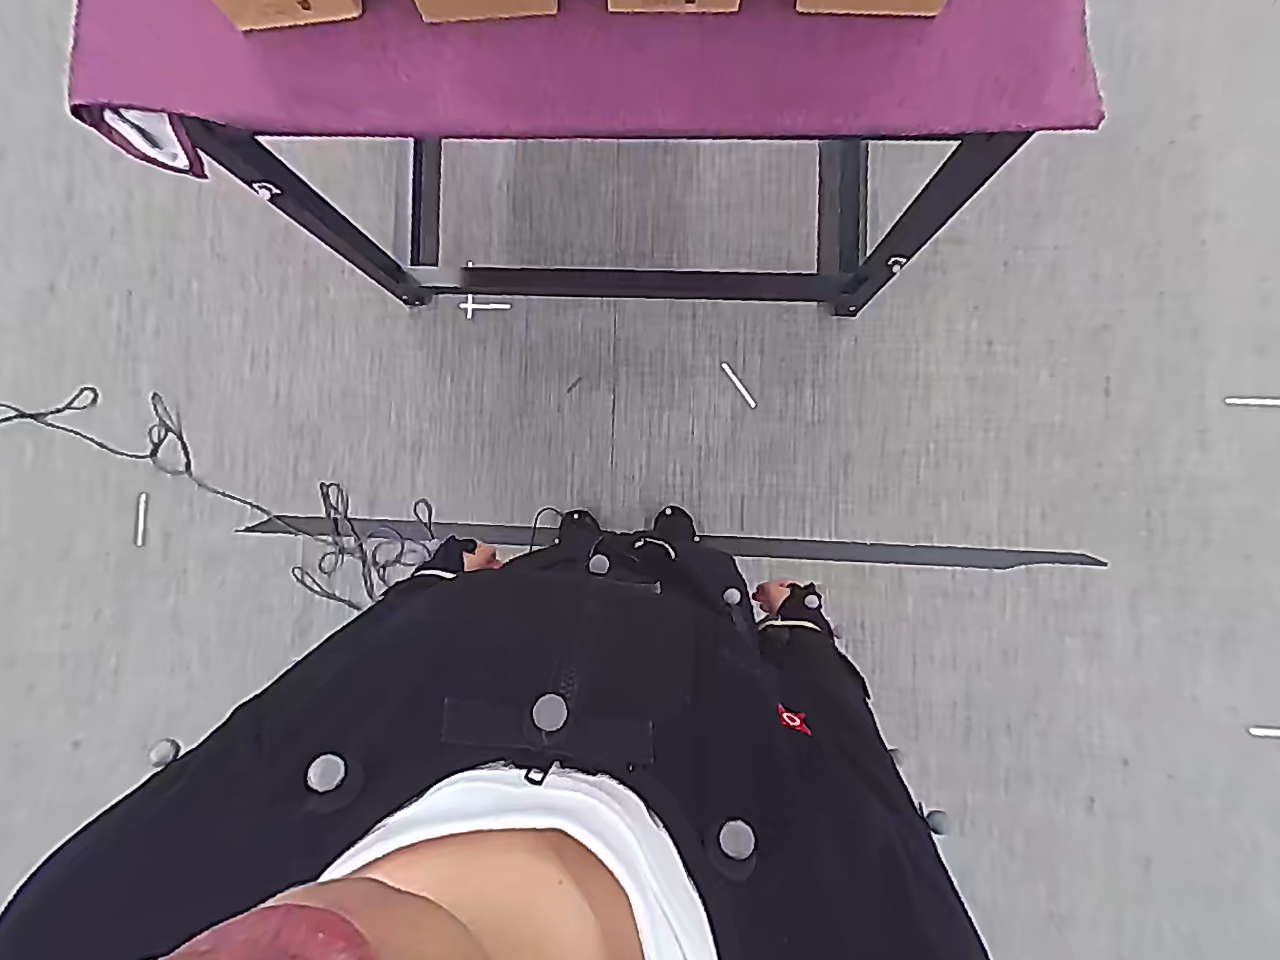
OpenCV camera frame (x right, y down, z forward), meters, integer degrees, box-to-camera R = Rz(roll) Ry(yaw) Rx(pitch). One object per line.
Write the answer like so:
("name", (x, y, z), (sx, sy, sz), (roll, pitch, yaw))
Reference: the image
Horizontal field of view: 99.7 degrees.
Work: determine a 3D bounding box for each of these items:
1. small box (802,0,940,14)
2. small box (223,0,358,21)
("small box", (0.283, -0.665, 0.595), (0.179, 0.176, 0.168), (5, 86, 2))
("small box", (-0.452, -0.686, 0.633), (0.168, 0.176, 0.179), (-5, 87, 2))
